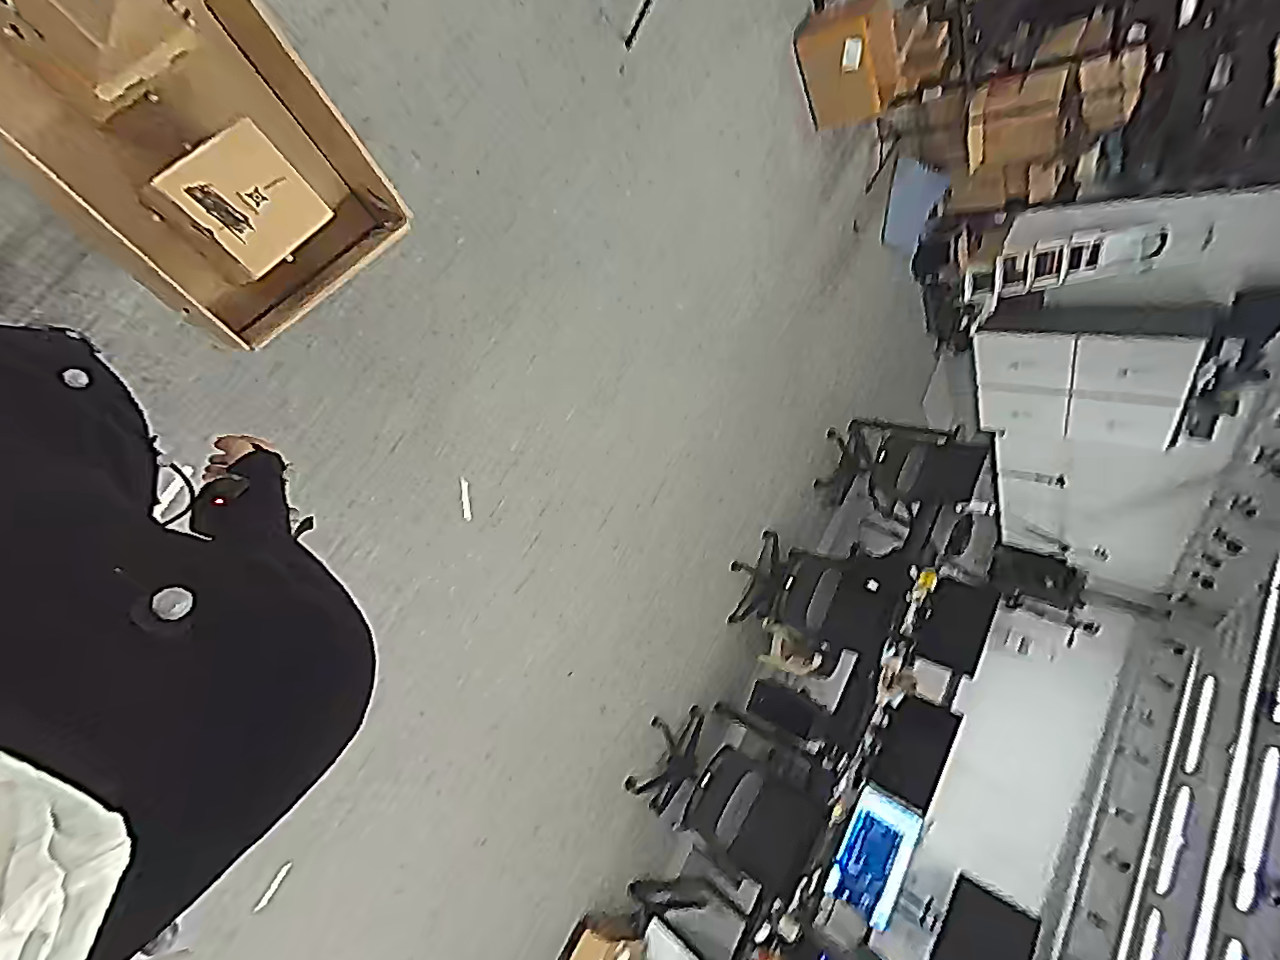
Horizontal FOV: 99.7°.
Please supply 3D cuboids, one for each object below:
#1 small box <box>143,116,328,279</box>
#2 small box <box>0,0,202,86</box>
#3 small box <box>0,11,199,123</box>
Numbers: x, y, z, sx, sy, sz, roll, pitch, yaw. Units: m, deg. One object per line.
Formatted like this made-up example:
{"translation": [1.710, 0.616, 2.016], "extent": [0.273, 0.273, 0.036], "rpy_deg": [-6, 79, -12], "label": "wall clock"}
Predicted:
{"translation": [-0.666, -0.451, 0.890], "extent": [0.179, 0.176, 0.168], "rpy_deg": [-56, 136, -21], "label": "small box"}
{"translation": [-0.645, -0.600, 0.618], "extent": [0.179, 0.176, 0.168], "rpy_deg": [-58, 136, -19], "label": "small box"}
{"translation": [-0.760, -0.627, 0.730], "extent": [0.168, 0.176, 0.179], "rpy_deg": [-56, 136, -20], "label": "small box"}
